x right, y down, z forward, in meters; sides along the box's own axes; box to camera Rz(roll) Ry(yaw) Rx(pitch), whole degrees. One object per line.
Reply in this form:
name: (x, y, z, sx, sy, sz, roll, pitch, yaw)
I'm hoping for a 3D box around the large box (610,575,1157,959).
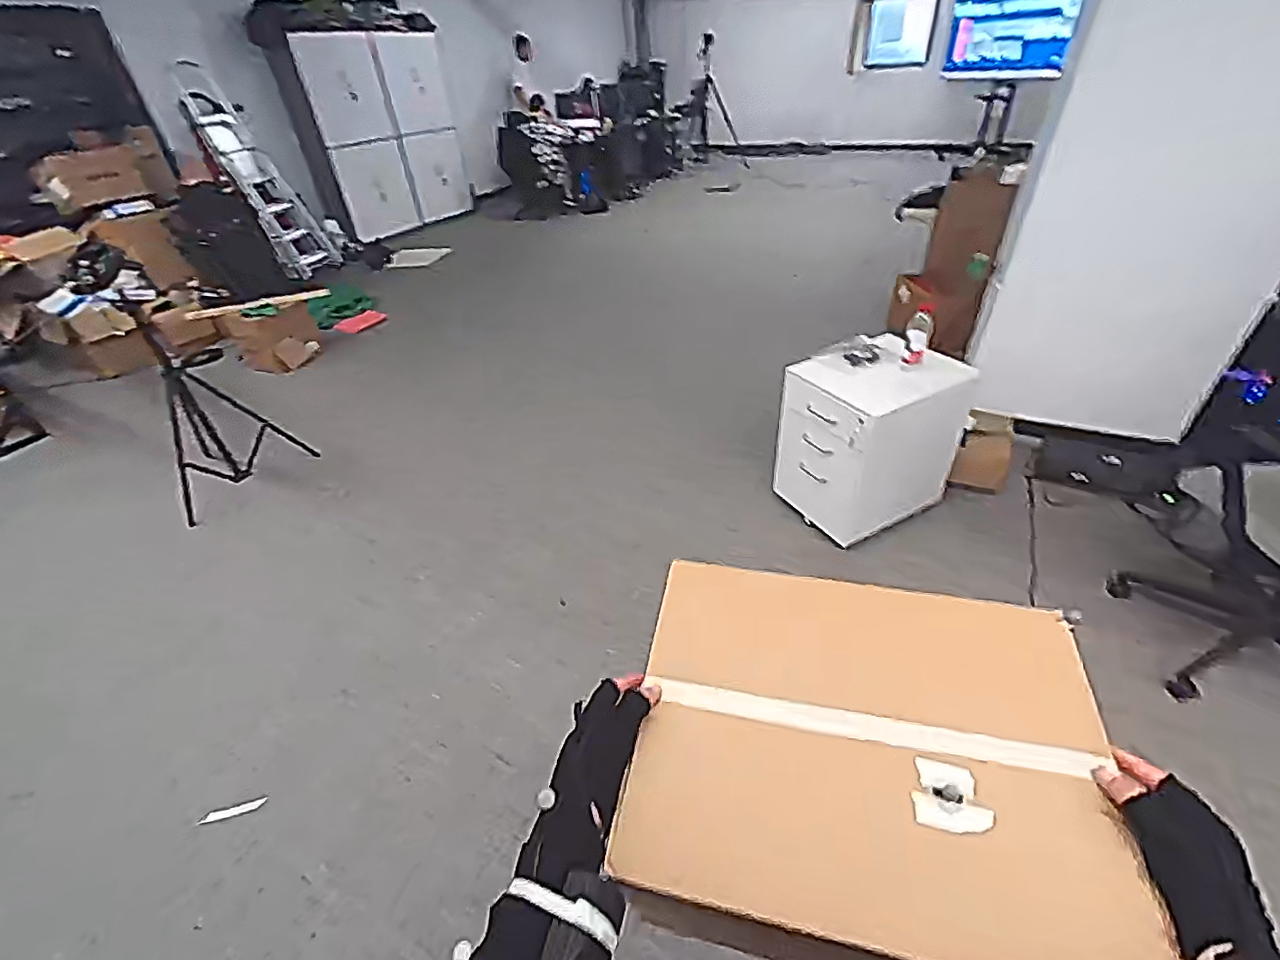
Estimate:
large box: (0.207, 0.340, 0.608, 0.408, 0.320, 0.320, 6, 47, 12)
